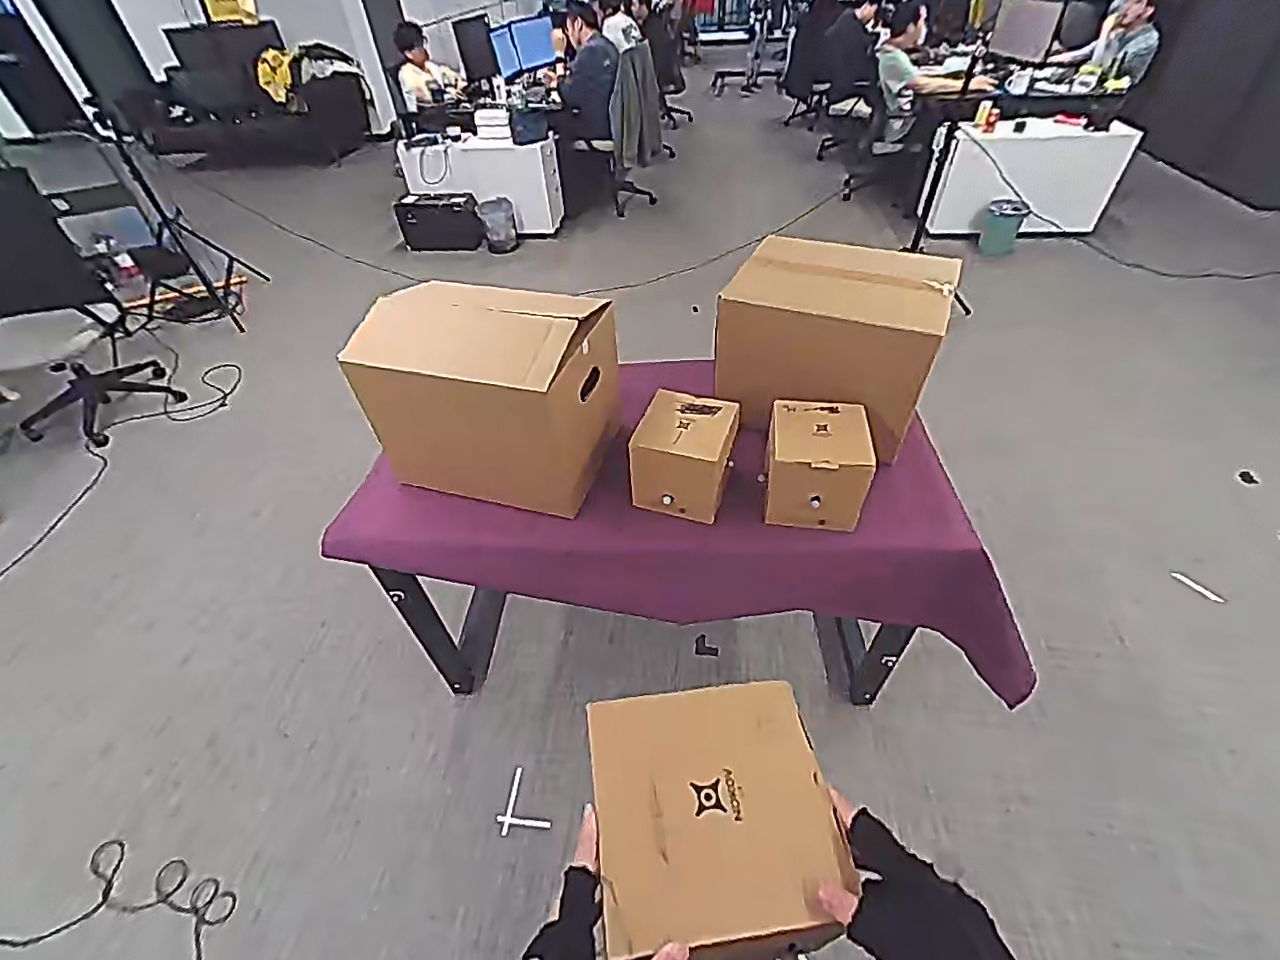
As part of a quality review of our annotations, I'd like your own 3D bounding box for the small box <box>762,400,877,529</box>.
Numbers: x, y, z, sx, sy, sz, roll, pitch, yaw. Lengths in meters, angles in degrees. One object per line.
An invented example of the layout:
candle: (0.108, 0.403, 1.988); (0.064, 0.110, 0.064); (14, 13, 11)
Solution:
small box: (0.324, -0.028, 1.011); (0.168, 0.176, 0.179); (5, 45, 5)
